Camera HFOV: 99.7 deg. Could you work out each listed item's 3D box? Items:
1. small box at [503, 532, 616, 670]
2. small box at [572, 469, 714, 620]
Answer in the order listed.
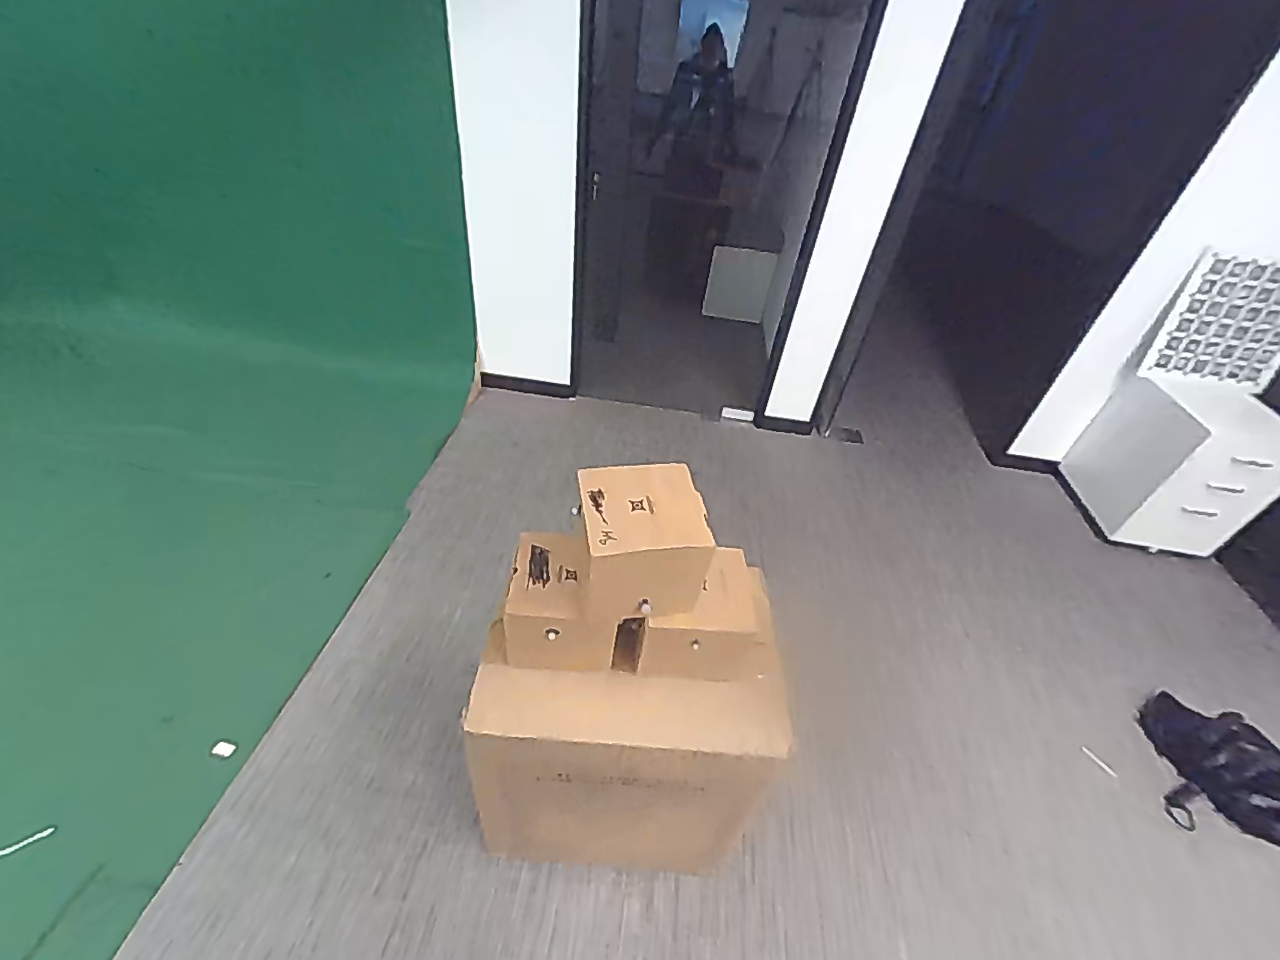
[{"bbox_3d":[-0.130,0.212,0.934,0.179,0.176,0.168,6,44,-4],"label":"small box"},{"bbox_3d":[-0.007,0.099,0.835,0.179,0.176,0.168,-2,45,-13],"label":"small box"}]
